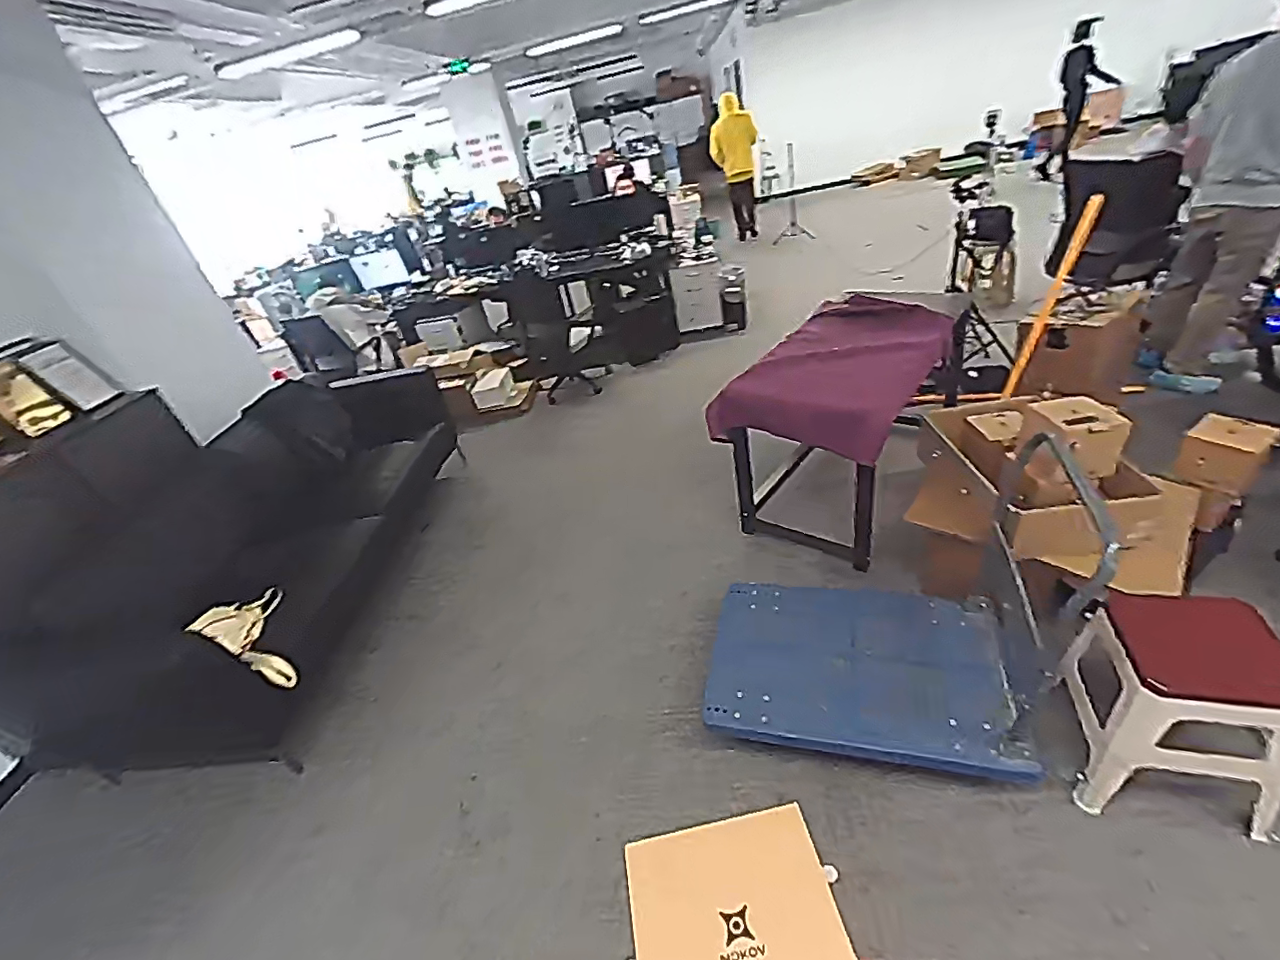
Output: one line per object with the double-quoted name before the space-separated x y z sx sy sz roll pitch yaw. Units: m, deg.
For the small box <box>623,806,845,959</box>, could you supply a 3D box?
"small box" 0.085 0.432 0.475 0.168 0.176 0.179 -12 33 -1
